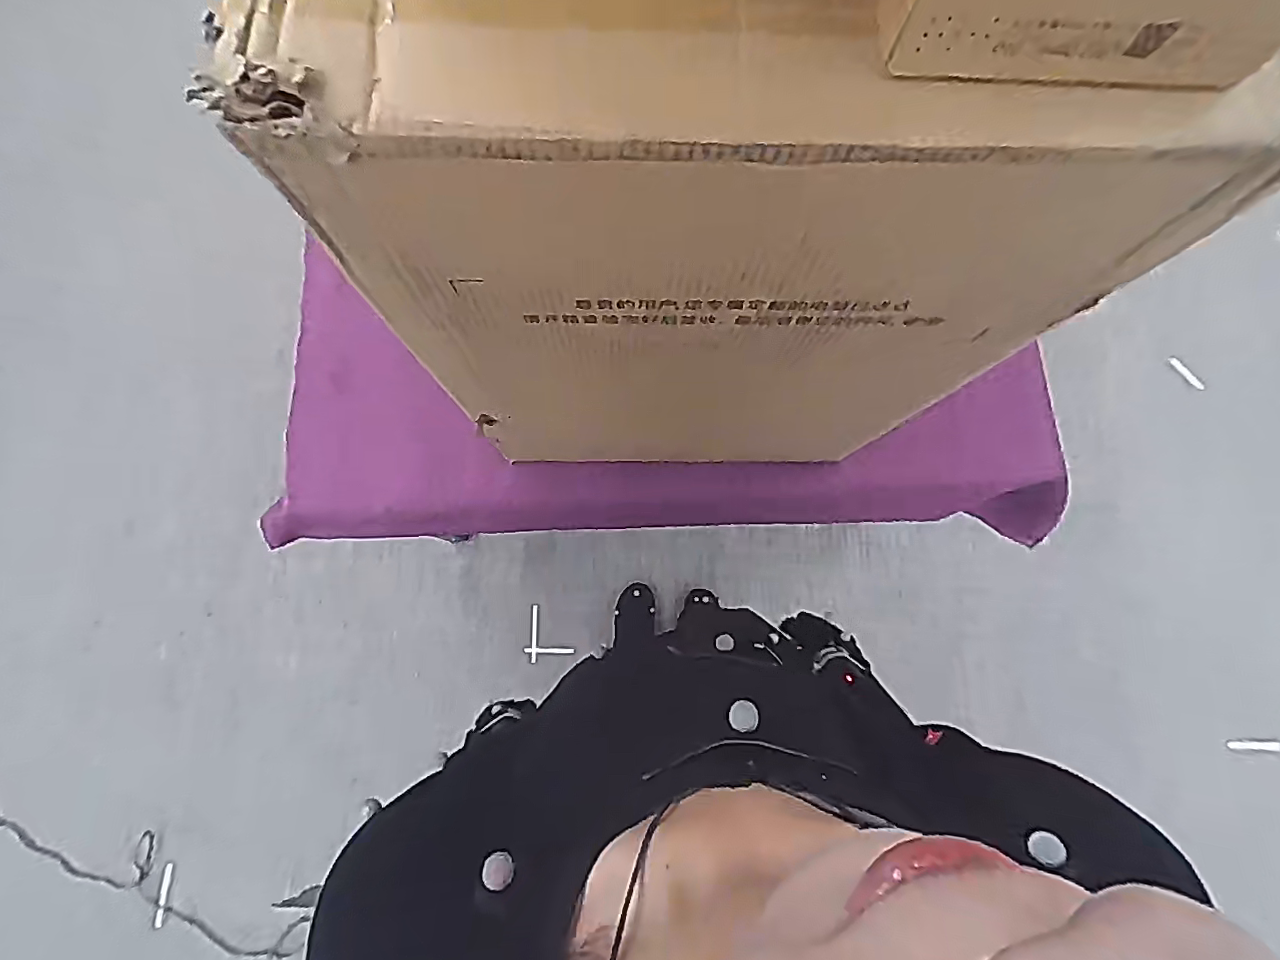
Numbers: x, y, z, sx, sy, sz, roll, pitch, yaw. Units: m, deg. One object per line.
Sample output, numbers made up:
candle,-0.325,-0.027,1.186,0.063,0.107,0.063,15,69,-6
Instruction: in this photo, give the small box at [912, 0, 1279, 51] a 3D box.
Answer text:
small box,0.195,-0.285,0.175,0.168,0.176,0.179,1,79,-1
